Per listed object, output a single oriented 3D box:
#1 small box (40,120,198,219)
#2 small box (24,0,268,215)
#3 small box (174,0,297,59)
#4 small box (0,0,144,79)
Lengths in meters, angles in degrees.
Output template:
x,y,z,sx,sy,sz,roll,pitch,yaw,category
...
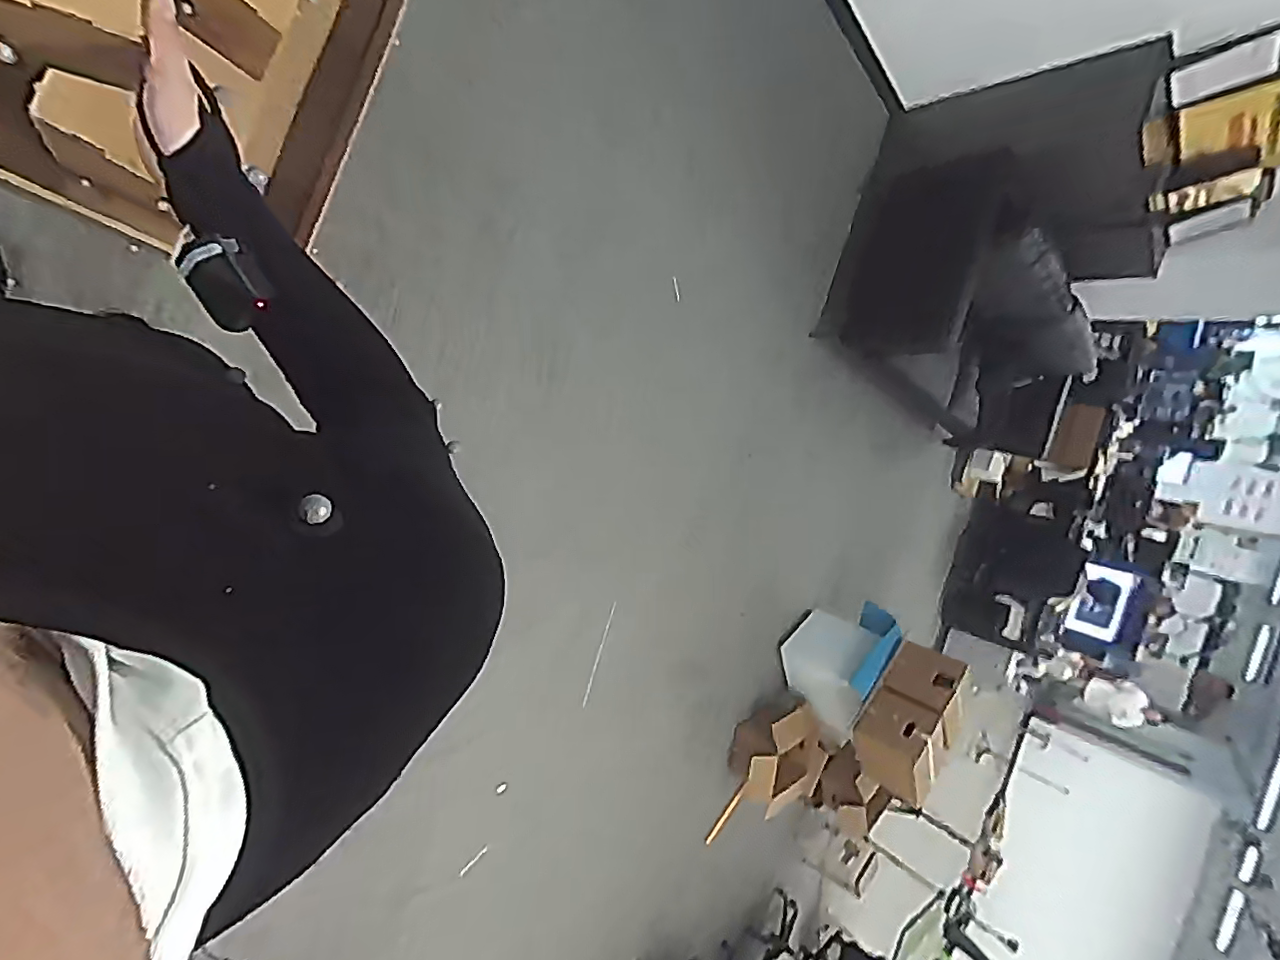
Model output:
x,y,z,sx,sy,sz,roll,pitch,yaw,category
-0.715,-0.510,0.788,0.168,0.176,0.179,23,86,-44,small box
-0.605,-0.463,0.677,0.168,0.176,0.179,27,84,-45,small box
-0.523,-0.694,0.684,0.168,0.176,0.179,23,90,-44,small box
-0.471,-0.428,0.378,0.168,0.176,0.179,-6,110,-43,small box
